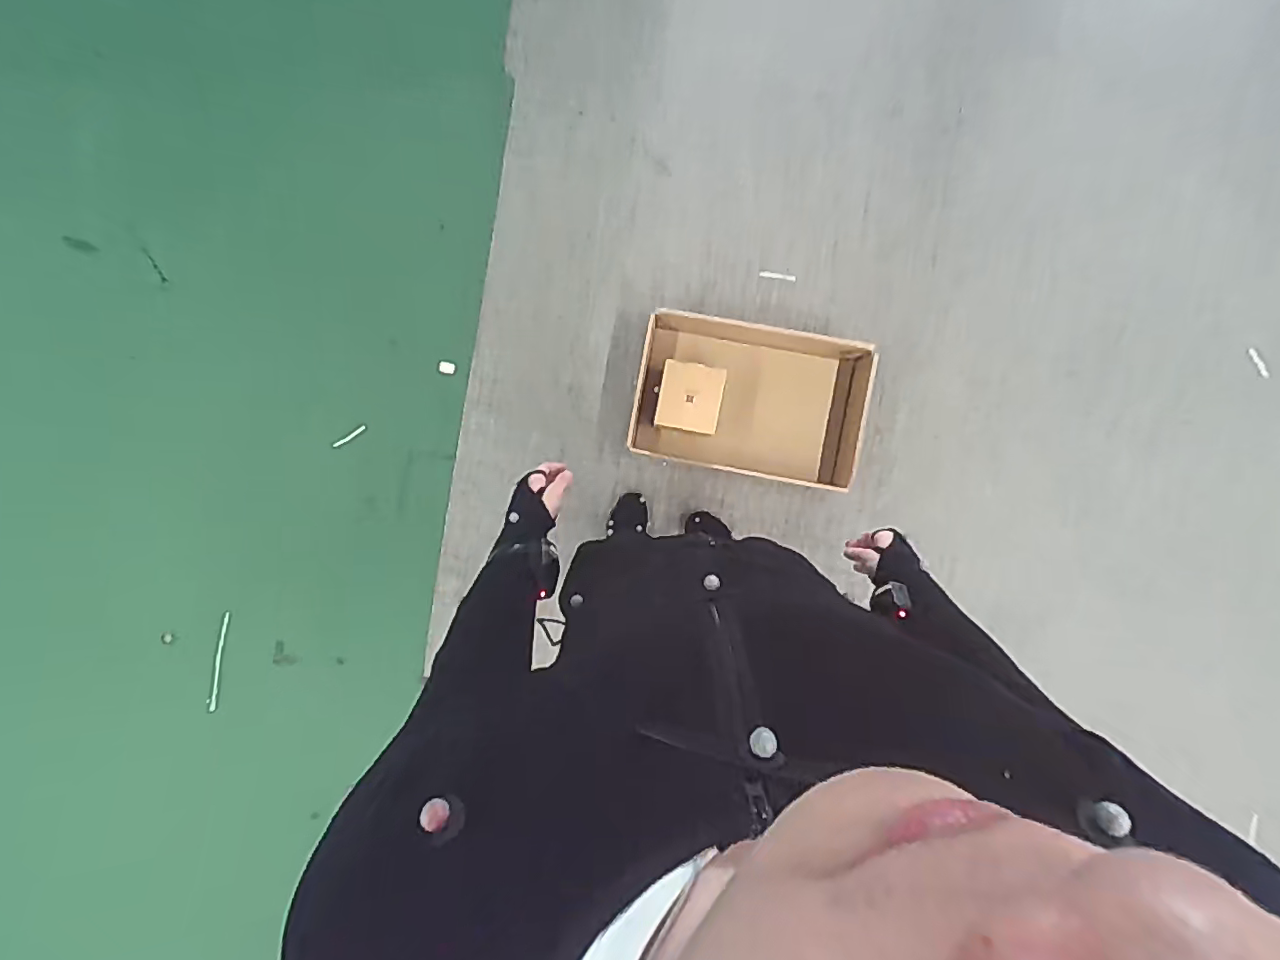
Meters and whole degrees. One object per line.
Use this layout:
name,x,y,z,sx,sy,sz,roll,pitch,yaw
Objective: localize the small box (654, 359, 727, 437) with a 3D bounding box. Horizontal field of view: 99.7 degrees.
small box,0.136,-0.218,1.493,0.168,0.176,0.179,11,90,2
